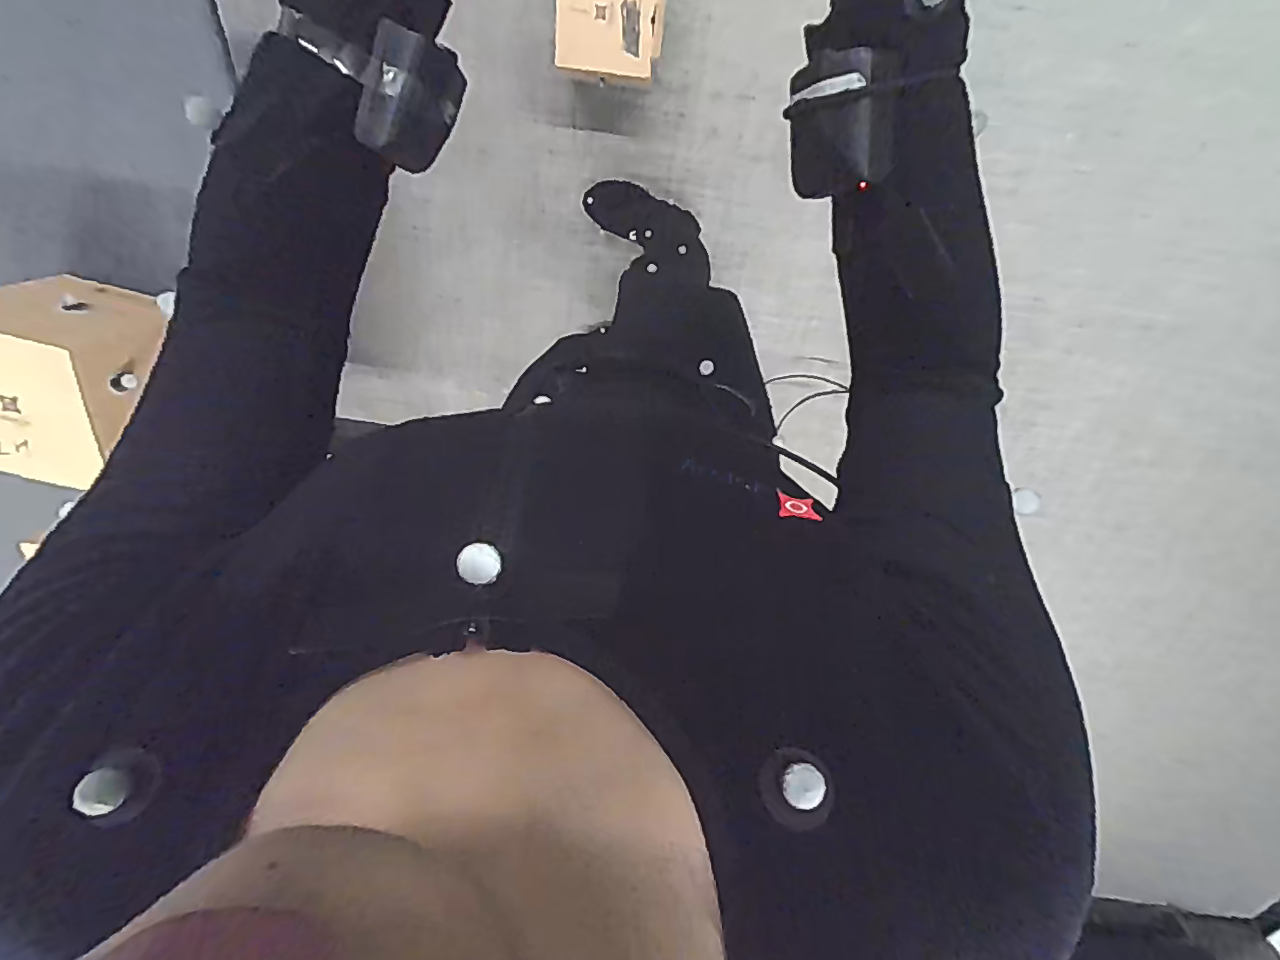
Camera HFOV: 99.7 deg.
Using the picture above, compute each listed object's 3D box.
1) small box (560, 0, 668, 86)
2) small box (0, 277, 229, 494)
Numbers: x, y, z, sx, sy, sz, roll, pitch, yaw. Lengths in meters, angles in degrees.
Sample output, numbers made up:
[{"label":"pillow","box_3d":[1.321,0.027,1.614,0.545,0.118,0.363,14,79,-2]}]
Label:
[{"label":"small box","box_3d":[-0.043,-0.845,1.000,0.179,0.176,0.168,8,121,0]},{"label":"small box","box_3d":[-0.618,-0.116,0.618,0.168,0.176,0.179,14,121,-3]}]
